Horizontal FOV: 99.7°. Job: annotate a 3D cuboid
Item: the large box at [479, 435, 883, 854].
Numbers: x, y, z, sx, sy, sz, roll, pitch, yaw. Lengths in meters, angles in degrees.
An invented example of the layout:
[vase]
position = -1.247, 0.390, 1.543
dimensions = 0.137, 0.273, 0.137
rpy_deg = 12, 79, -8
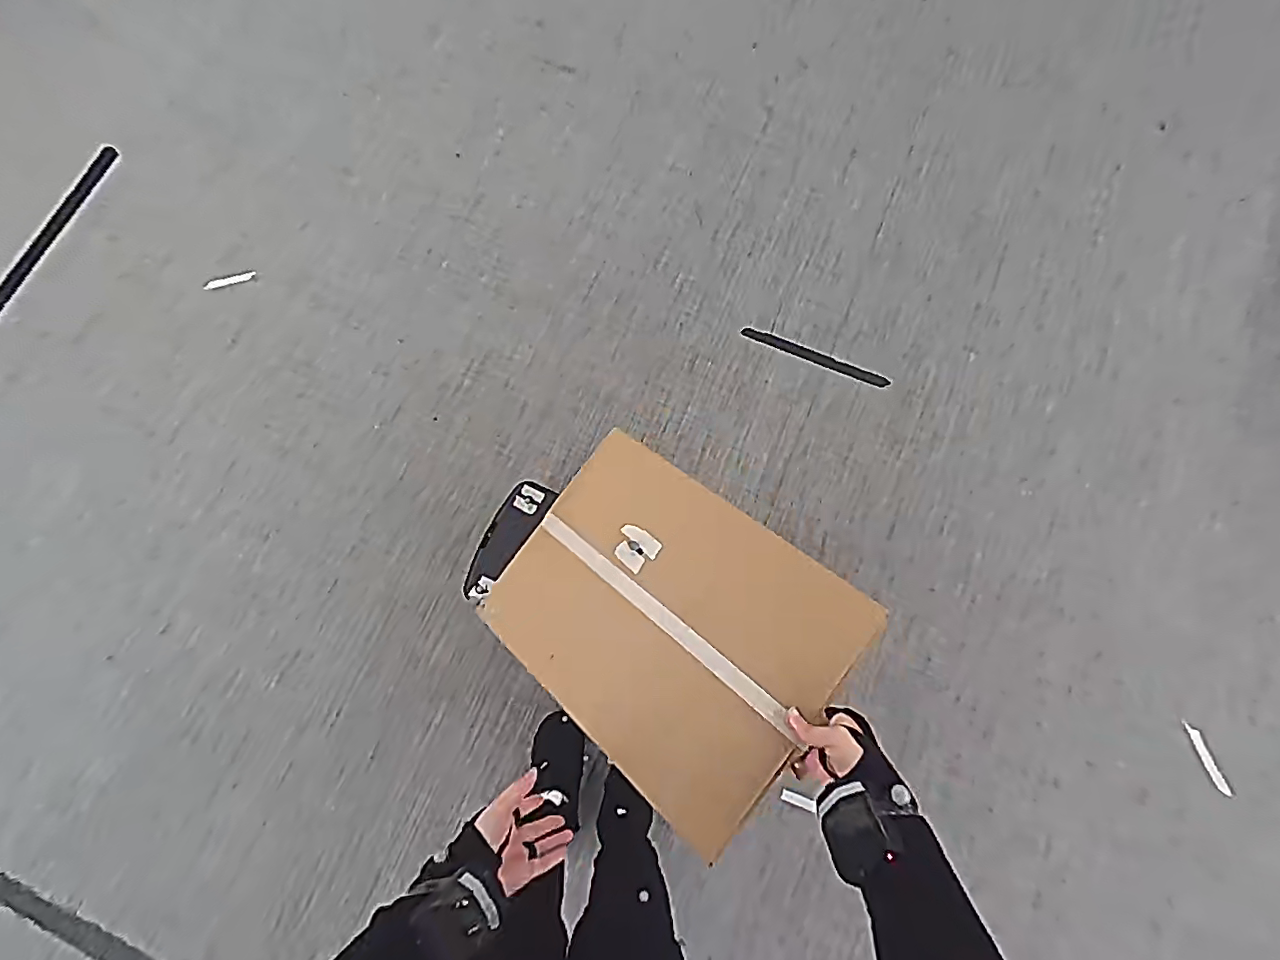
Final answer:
[large box]
position = 0.070, 0.203, 0.761
dimensions = 0.408, 0.320, 0.320
rpy_deg = 35, 84, 29
